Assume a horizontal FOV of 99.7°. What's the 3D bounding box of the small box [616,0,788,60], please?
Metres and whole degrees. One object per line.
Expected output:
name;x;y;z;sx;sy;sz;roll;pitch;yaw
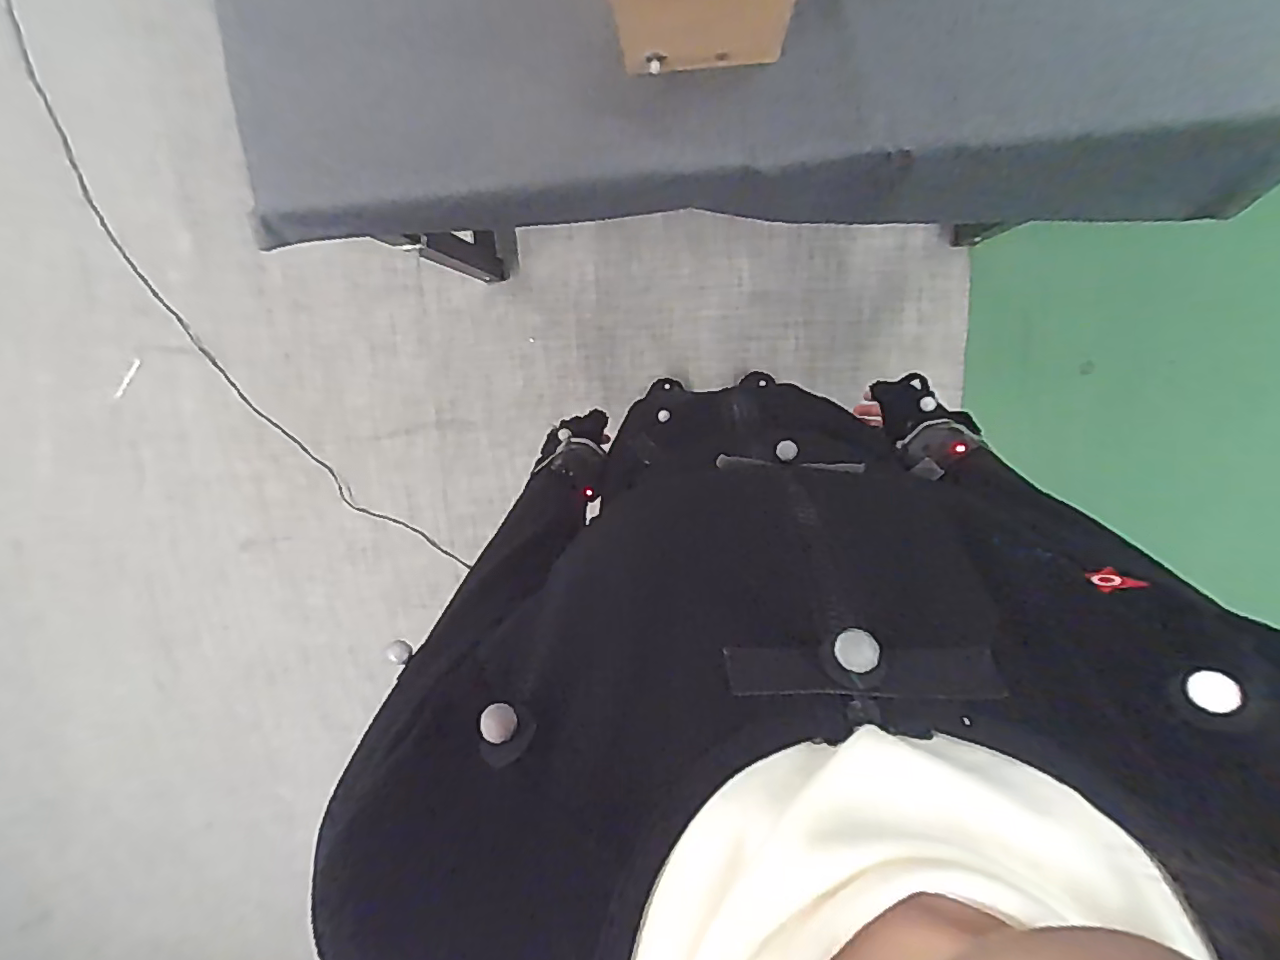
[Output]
small box;0.059;-0.527;0.501;0.168;0.176;0.179;-1;101;5
